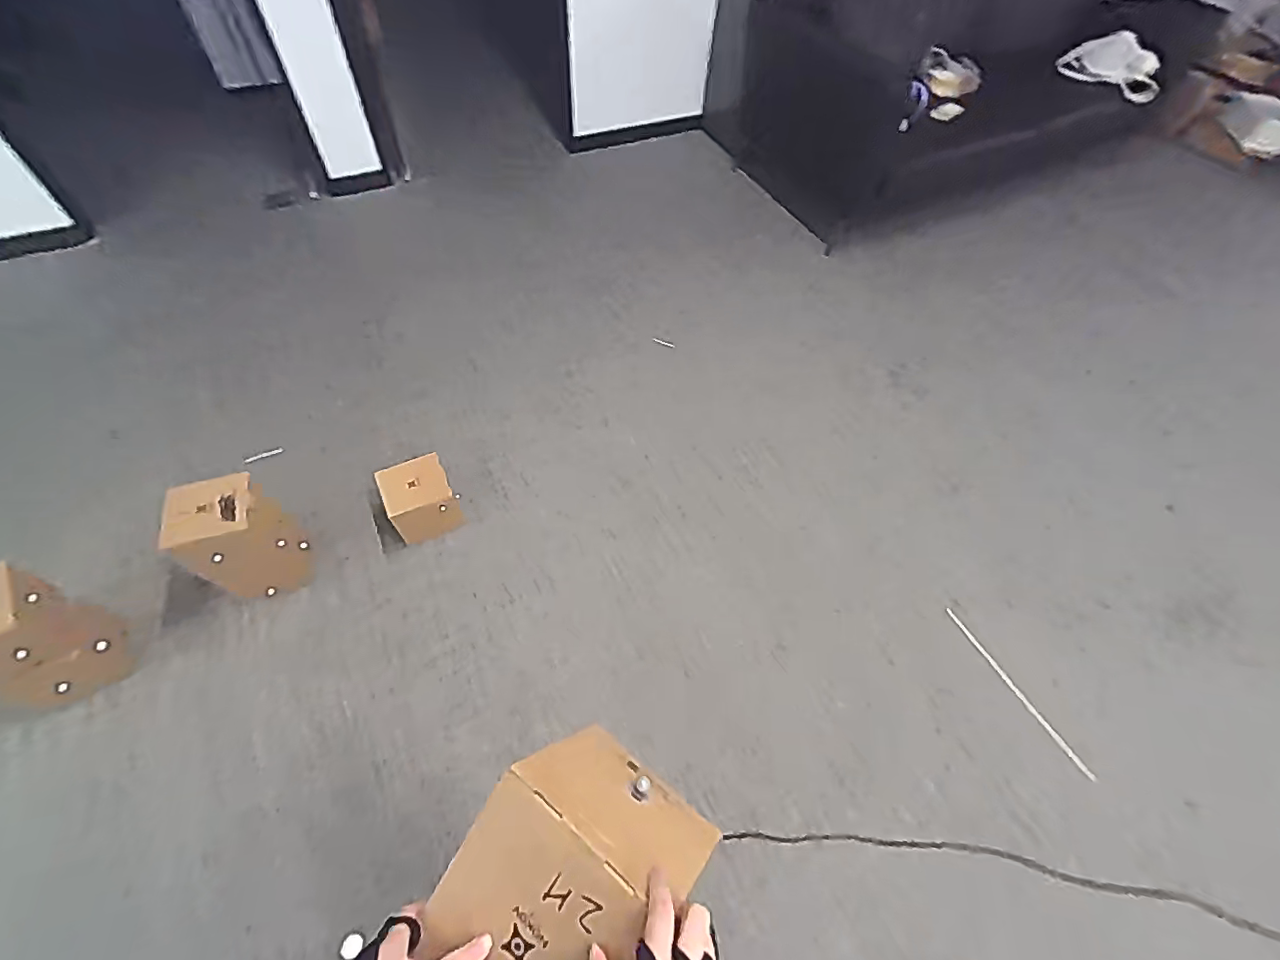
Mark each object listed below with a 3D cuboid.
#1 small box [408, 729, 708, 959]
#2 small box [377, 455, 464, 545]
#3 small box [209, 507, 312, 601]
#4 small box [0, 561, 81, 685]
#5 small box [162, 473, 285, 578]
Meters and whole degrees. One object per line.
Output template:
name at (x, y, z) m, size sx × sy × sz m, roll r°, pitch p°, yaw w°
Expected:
small box at (-0.059, 0.361, 0.487) m, size 0.168 × 0.176 × 0.179 m, roll 31°, pitch 90°, yaw 24°
small box at (-0.629, 0.061, 1.562) m, size 0.179 × 0.176 × 0.168 m, roll -21°, pitch 60°, yaw -18°
small box at (-0.998, 0.200, 1.439) m, size 0.179 × 0.176 × 0.168 m, roll -14°, pitch 57°, yaw -14°
small box at (-1.344, 0.310, 1.141) m, size 0.168 × 0.176 × 0.179 m, roll -30°, pitch 62°, yaw -23°
small box at (-0.986, 0.112, 1.299) m, size 0.179 × 0.176 × 0.168 m, roll -15°, pitch 58°, yaw -12°
